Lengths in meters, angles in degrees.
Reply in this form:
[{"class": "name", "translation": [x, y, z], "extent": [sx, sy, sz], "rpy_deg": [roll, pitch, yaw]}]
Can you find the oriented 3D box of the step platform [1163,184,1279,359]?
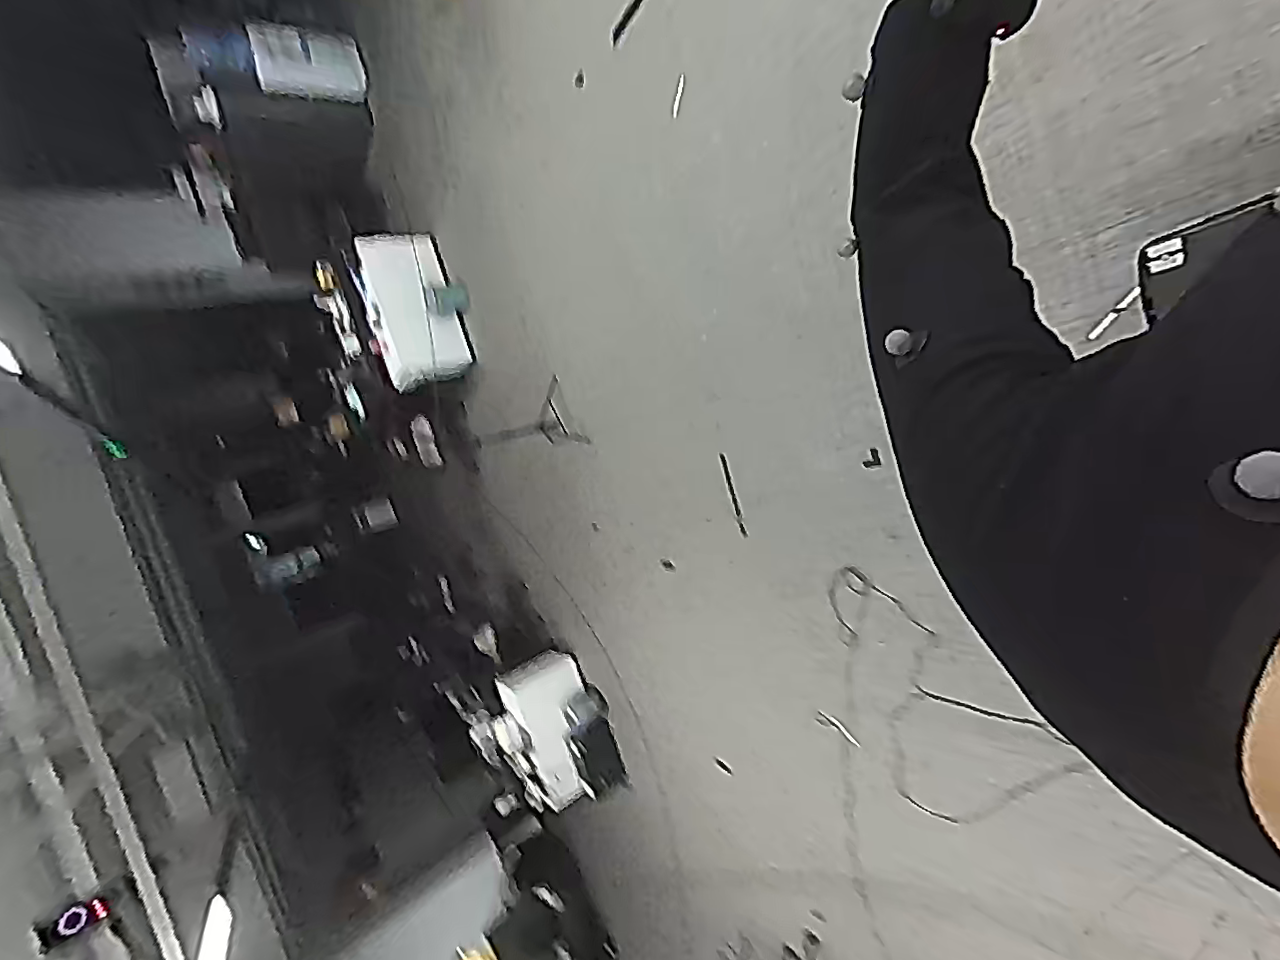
[{"class": "step platform", "translation": [1.299, -0.428, 0.849], "extent": [0.684, 0.204, 0.286], "rpy_deg": [-15, 94, 55]}]
